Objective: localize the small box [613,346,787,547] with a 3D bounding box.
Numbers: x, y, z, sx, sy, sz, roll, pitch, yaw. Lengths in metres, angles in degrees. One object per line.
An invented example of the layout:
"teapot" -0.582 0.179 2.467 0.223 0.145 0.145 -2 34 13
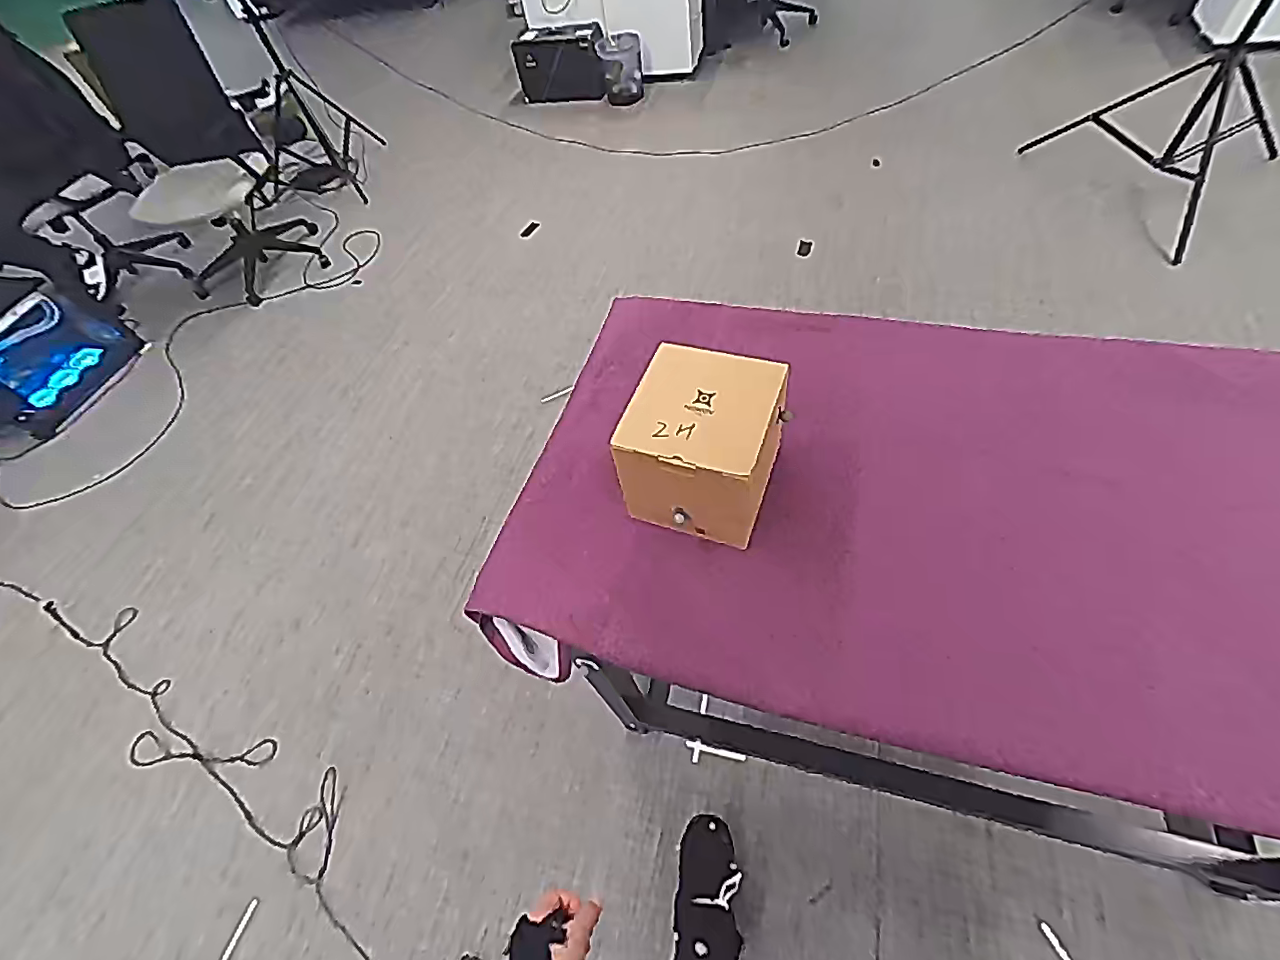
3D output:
"small box" 0.082 -0.042 0.702 0.168 0.176 0.179 14 59 18
